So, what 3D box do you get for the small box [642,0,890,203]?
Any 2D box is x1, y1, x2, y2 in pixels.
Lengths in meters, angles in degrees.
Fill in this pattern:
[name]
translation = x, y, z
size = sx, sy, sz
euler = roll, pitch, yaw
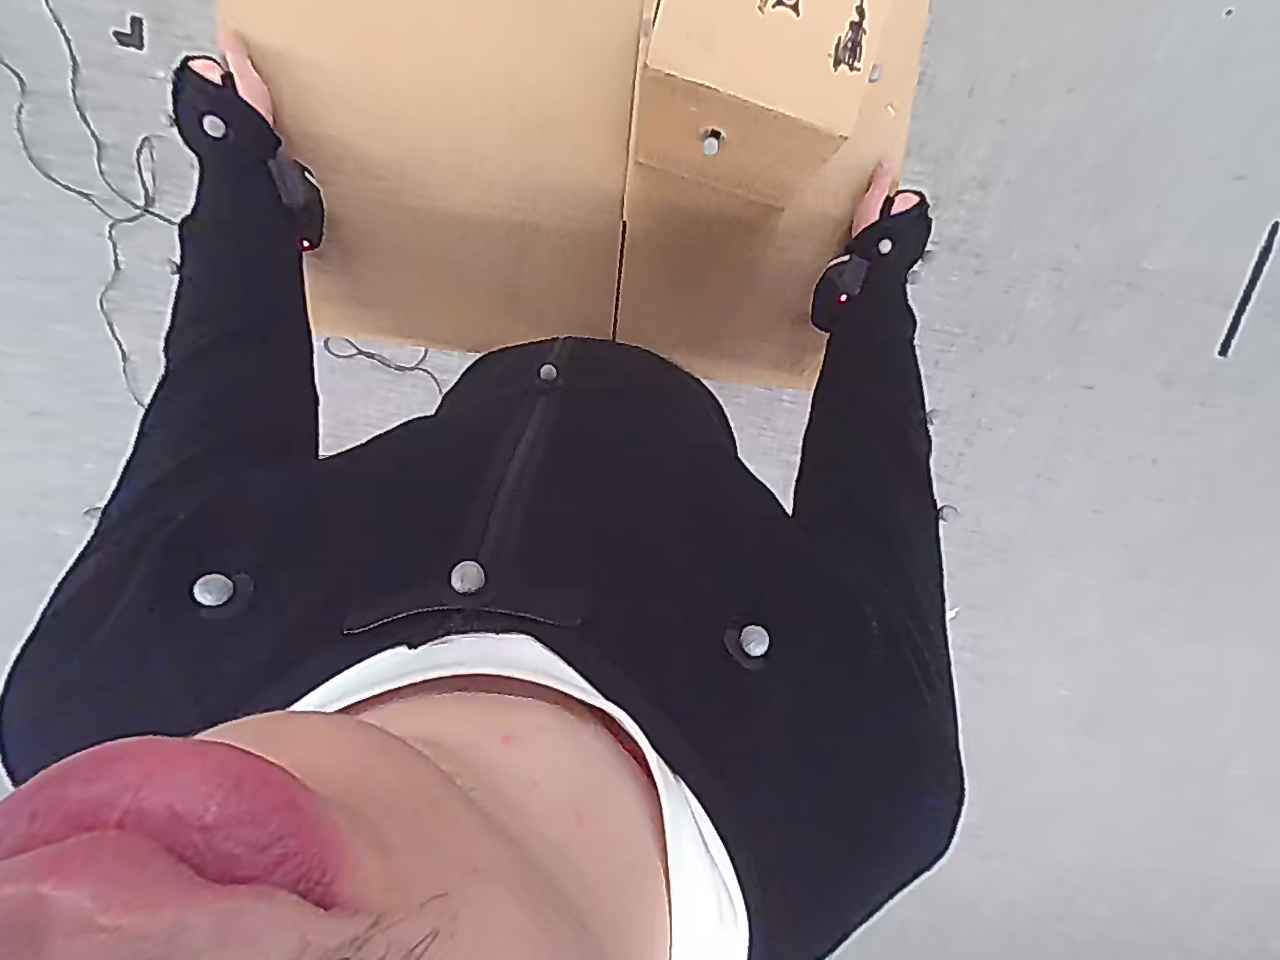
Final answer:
[small box]
translation = 0.105, -0.388, 0.504
size = 0.179, 0.176, 0.168
euler = 15, 98, -4
